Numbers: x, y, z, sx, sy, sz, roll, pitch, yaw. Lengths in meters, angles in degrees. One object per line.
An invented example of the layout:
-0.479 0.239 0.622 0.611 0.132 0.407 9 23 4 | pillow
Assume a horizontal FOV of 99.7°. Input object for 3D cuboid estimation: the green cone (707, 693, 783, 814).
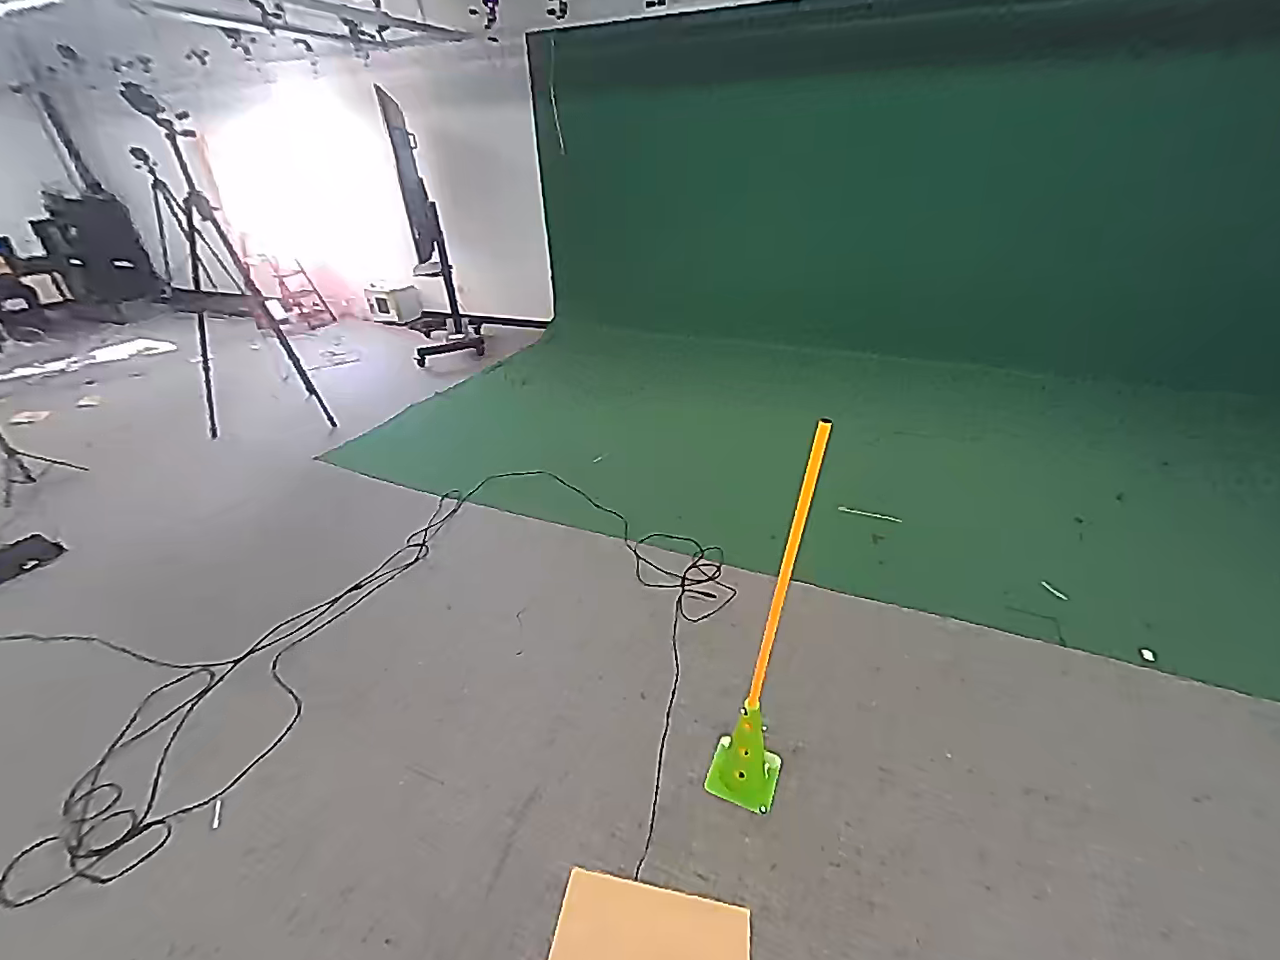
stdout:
0.316 0.756 1.579 0.202 0.368 0.200 11 33 22 | green cone
